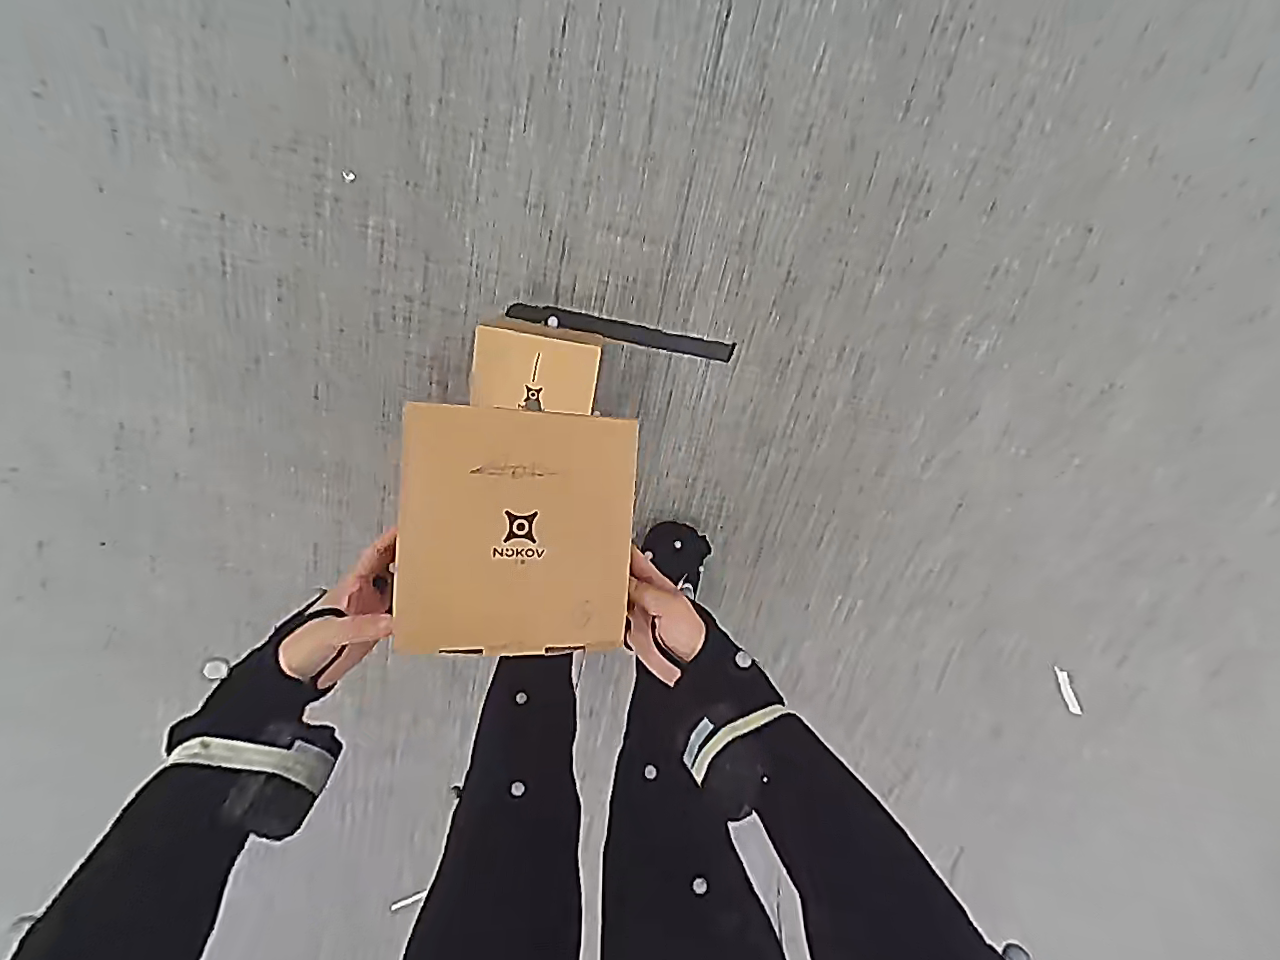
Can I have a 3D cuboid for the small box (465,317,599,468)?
[{"bbox_3d":[-0.153,-0.136,0.806,0.168,0.176,0.179,8,109,-8],"label":"small box"}]
